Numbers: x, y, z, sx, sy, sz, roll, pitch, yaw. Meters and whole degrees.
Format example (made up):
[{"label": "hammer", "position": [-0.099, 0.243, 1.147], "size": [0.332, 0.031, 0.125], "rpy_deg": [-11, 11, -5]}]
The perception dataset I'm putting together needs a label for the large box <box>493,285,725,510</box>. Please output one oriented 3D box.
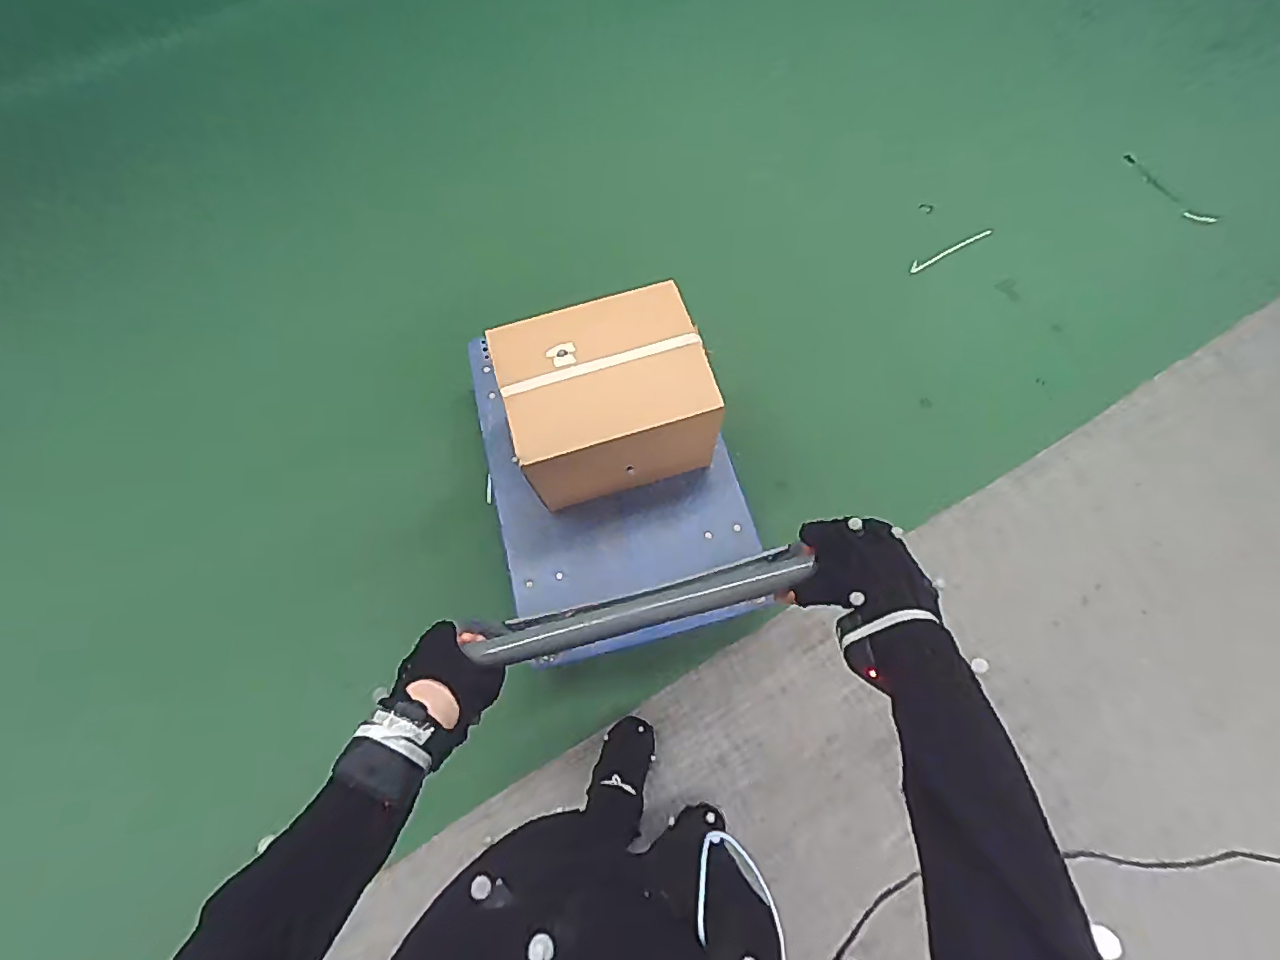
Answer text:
[{"label": "large box", "position": [-0.062, -0.167, 1.215], "size": [0.408, 0.320, 0.320], "rpy_deg": [-18, 70, -4]}]
